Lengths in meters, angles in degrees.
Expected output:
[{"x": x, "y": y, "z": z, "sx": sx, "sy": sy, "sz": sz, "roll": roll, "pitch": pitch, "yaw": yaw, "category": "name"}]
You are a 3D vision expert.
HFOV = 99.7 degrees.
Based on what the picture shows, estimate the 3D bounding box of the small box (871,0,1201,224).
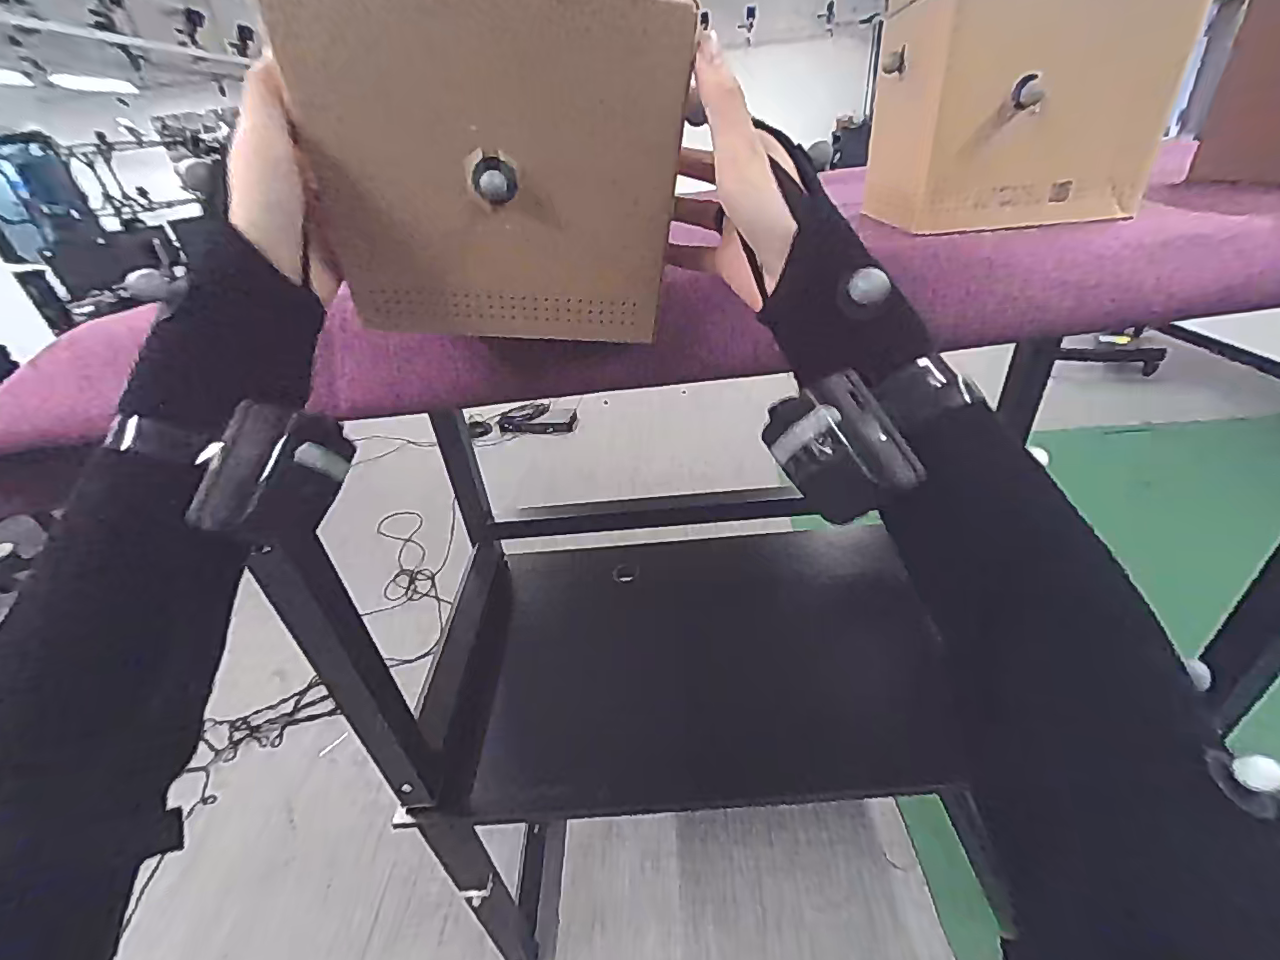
[{"x": 0.310, "y": -0.319, "z": 0.458, "sx": 0.168, "sy": 0.176, "sz": 0.179, "roll": -2, "pitch": 31, "yaw": 7, "category": "small box"}]

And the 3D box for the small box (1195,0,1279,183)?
[{"x": 0.650, "y": -0.353, "z": 0.452, "sx": 0.168, "sy": 0.176, "sz": 0.179, "roll": -6, "pitch": 31, "yaw": 1, "category": "small box"}]
